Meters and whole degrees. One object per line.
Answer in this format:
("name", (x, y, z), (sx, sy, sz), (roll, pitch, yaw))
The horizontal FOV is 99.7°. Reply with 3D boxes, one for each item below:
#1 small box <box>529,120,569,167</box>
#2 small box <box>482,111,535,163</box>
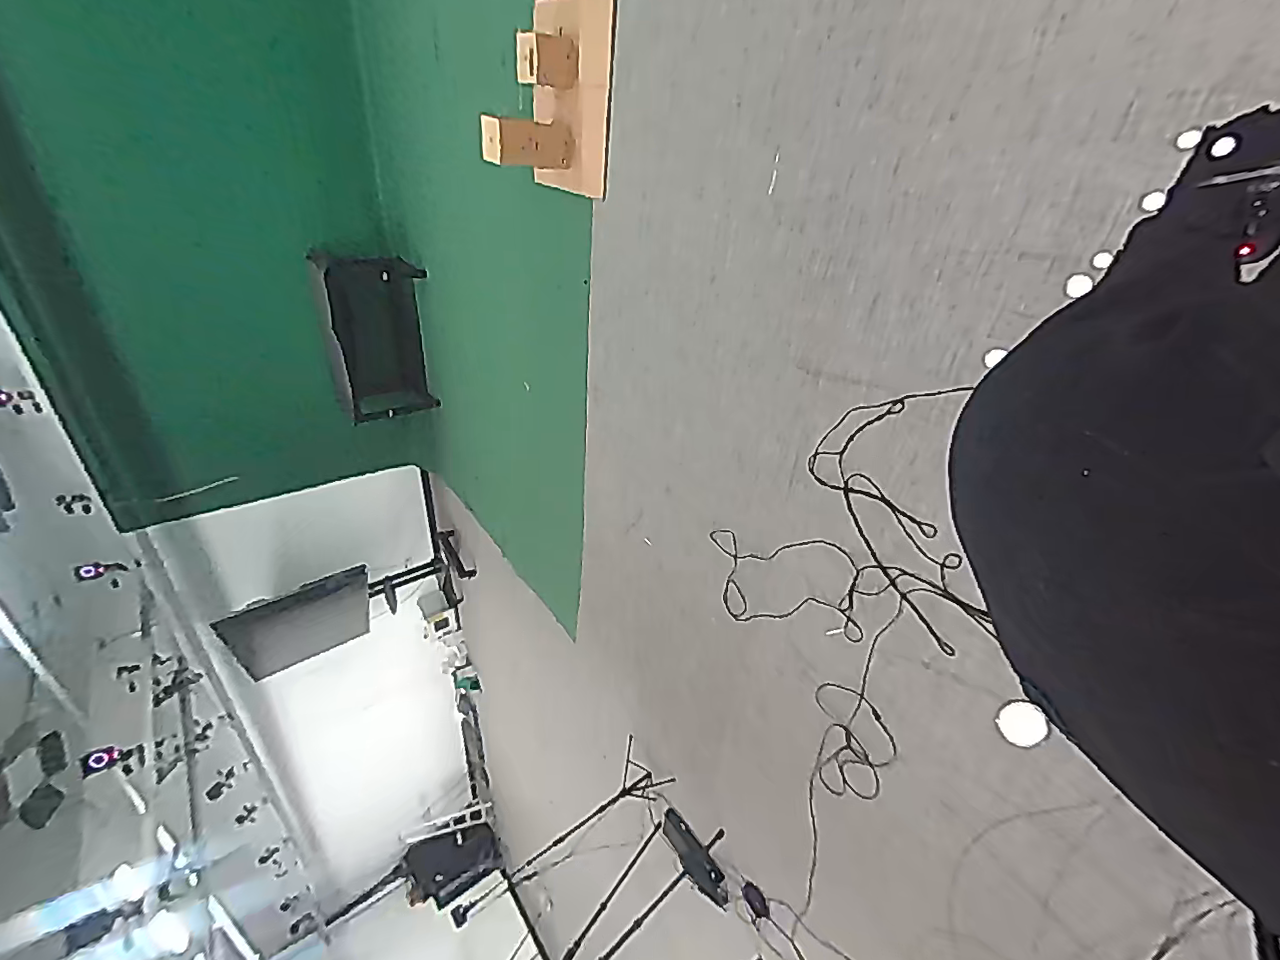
("small box", (-0.428, -1.505, 2.412), (0.179, 0.176, 0.168), (40, 136, 39))
("small box", (-0.564, -1.472, 2.327), (0.179, 0.176, 0.168), (41, 136, 37))
